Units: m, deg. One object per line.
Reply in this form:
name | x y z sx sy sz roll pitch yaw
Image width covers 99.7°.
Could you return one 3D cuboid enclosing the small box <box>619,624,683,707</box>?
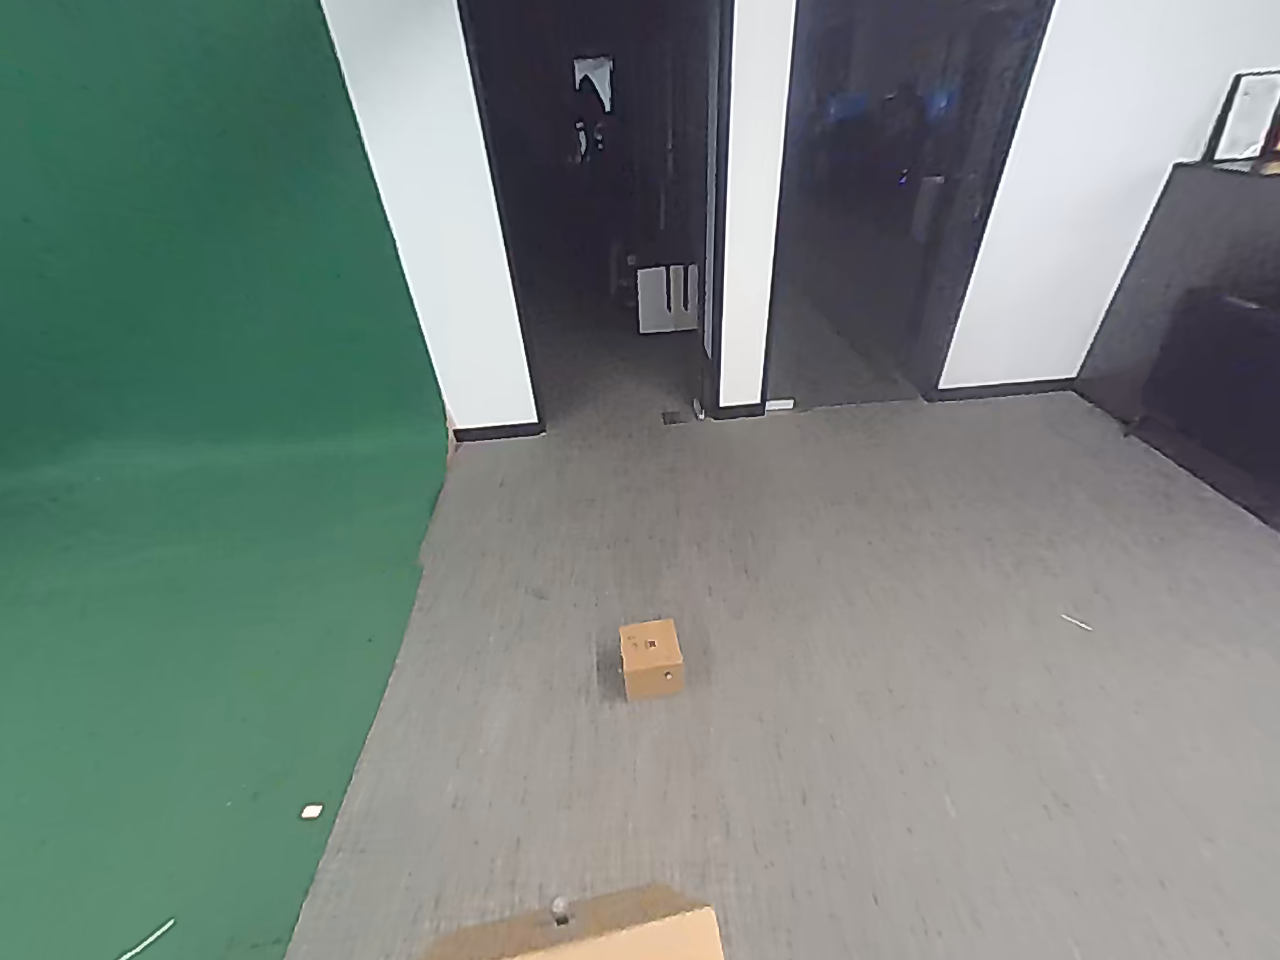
small box | 0.033 0.571 1.665 0.179 0.176 0.168 -7 37 -4
